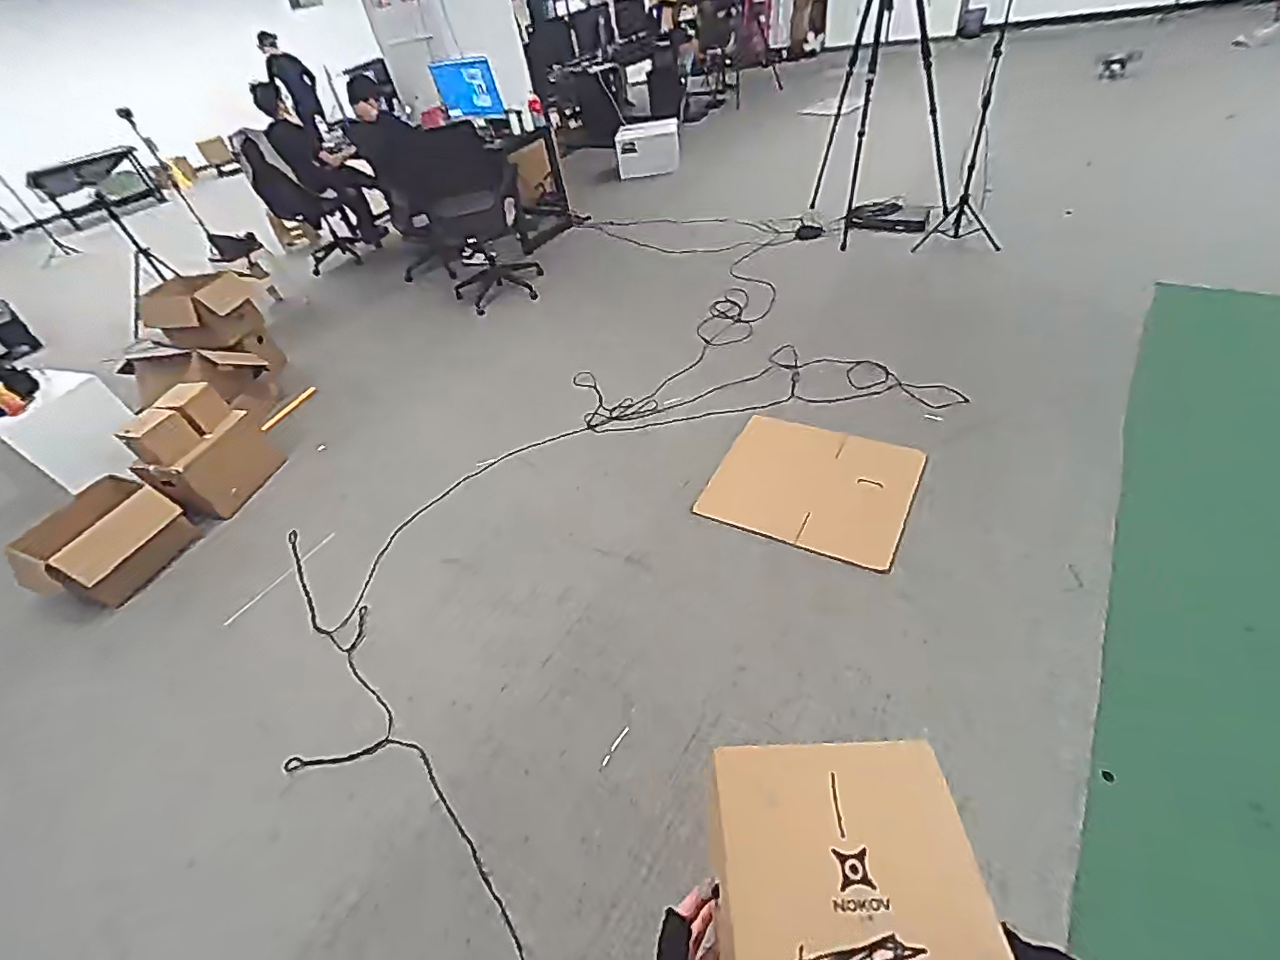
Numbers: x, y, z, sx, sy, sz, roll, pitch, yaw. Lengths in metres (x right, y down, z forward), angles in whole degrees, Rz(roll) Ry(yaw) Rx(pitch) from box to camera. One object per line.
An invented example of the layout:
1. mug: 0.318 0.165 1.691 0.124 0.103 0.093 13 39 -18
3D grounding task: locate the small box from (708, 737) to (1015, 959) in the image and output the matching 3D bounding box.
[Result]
1. small box: 0.144 0.315 0.407 0.168 0.176 0.179 -2 45 0
